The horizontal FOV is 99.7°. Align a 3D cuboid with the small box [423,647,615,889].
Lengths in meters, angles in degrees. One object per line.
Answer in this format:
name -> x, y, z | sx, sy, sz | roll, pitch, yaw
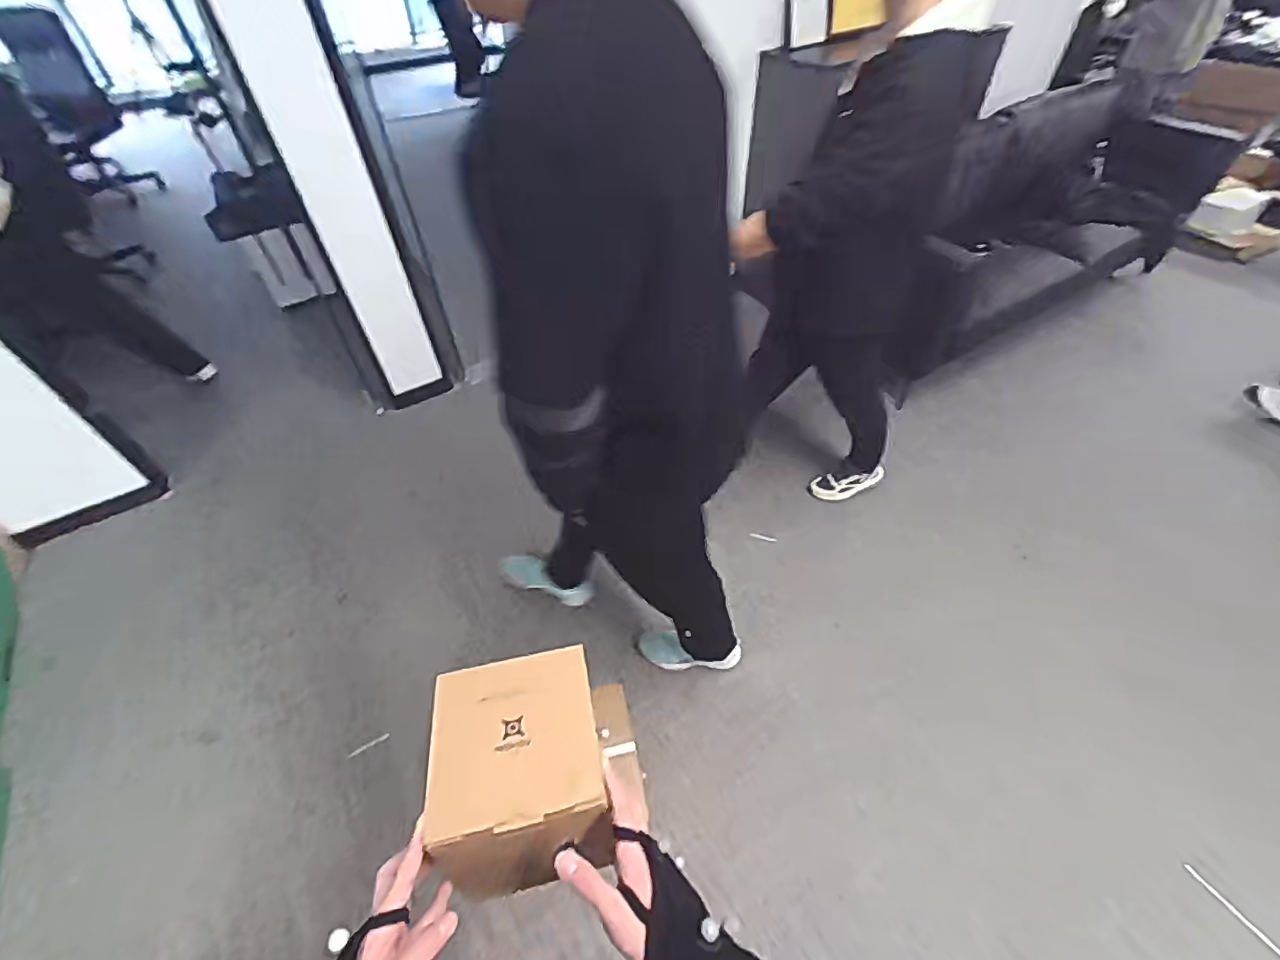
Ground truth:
small box -> -0.125, 0.320, 0.599 | 0.168, 0.176, 0.179 | -9, 38, -8
